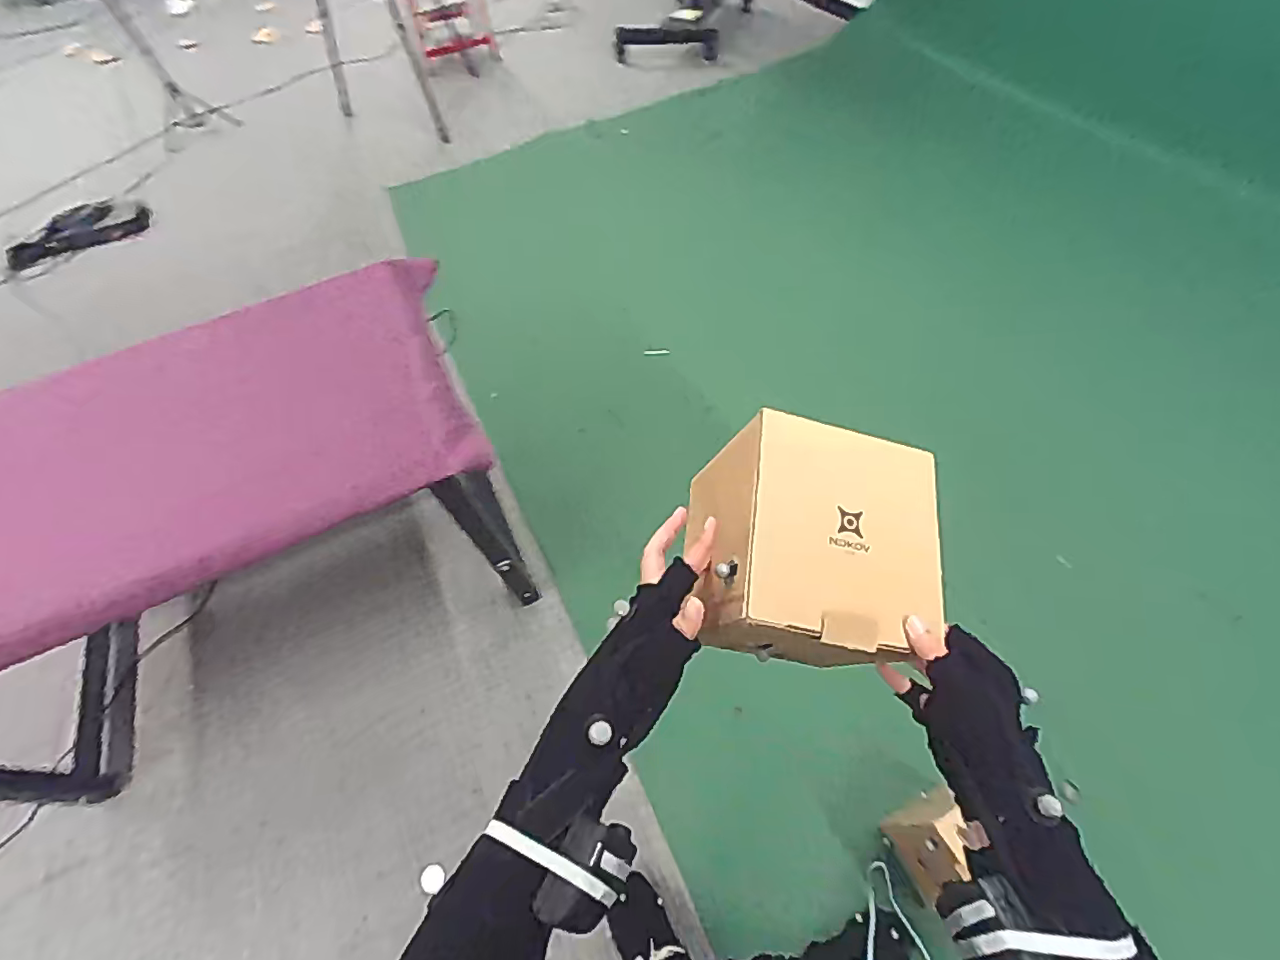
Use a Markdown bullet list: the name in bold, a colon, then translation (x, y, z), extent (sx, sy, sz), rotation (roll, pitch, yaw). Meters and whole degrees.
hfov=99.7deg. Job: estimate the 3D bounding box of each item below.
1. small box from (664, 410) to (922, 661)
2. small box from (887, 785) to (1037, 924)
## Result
- **small box**: translation (0.130, 0.065, 0.505), extent (0.168, 0.176, 0.179), rotation (14, 68, -11)
- **small box**: translation (0.623, 0.739, 1.078), extent (0.179, 0.176, 0.168), rotation (-24, 58, -10)
